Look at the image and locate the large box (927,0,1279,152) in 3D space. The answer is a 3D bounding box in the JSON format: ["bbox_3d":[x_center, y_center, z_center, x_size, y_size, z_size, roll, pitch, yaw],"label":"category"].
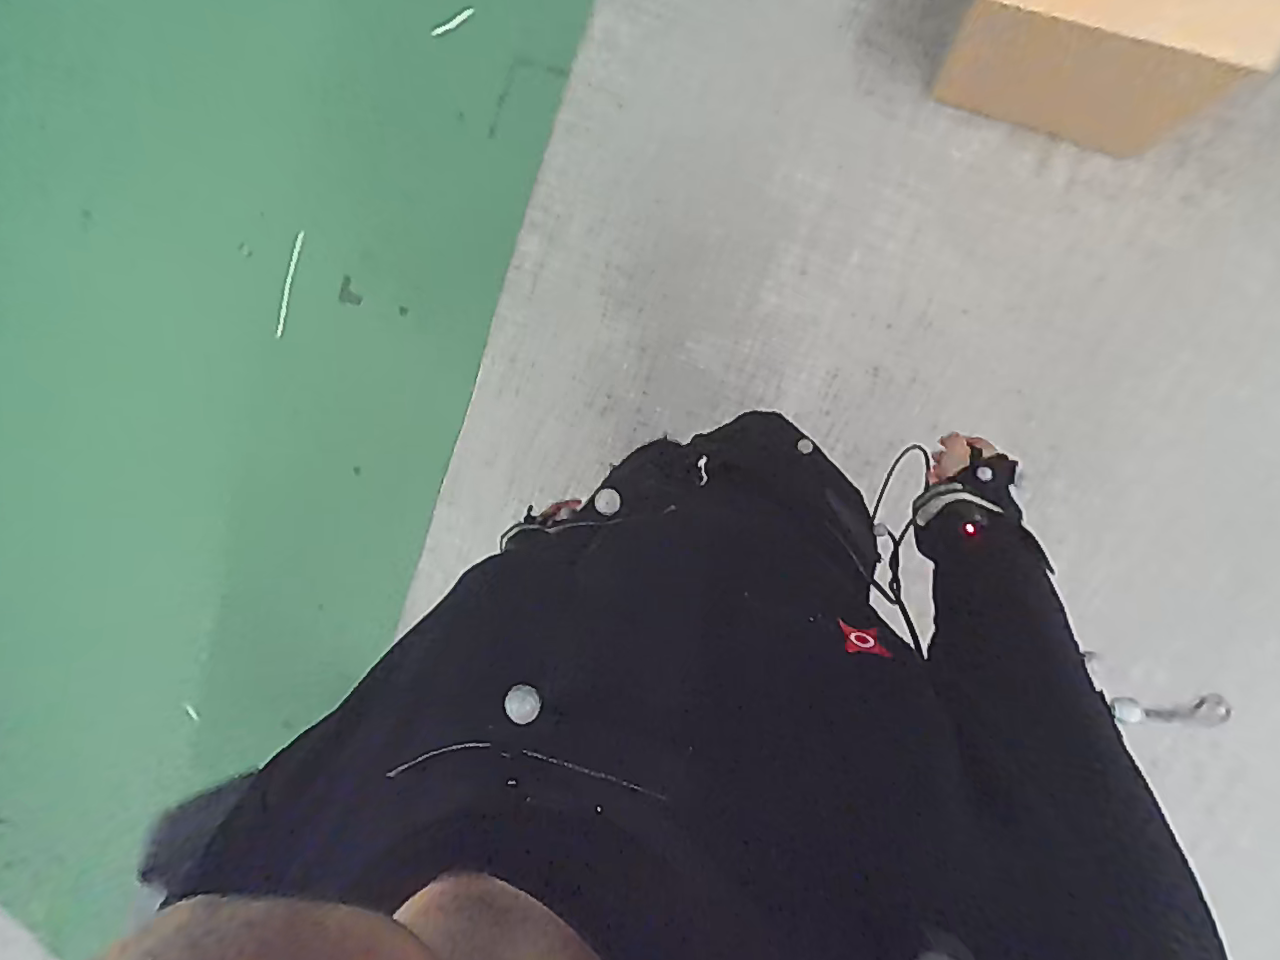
[{"bbox_3d":[0.769,-0.808,0.882,0.408,0.320,0.320,24,106,9],"label":"large box"}]
